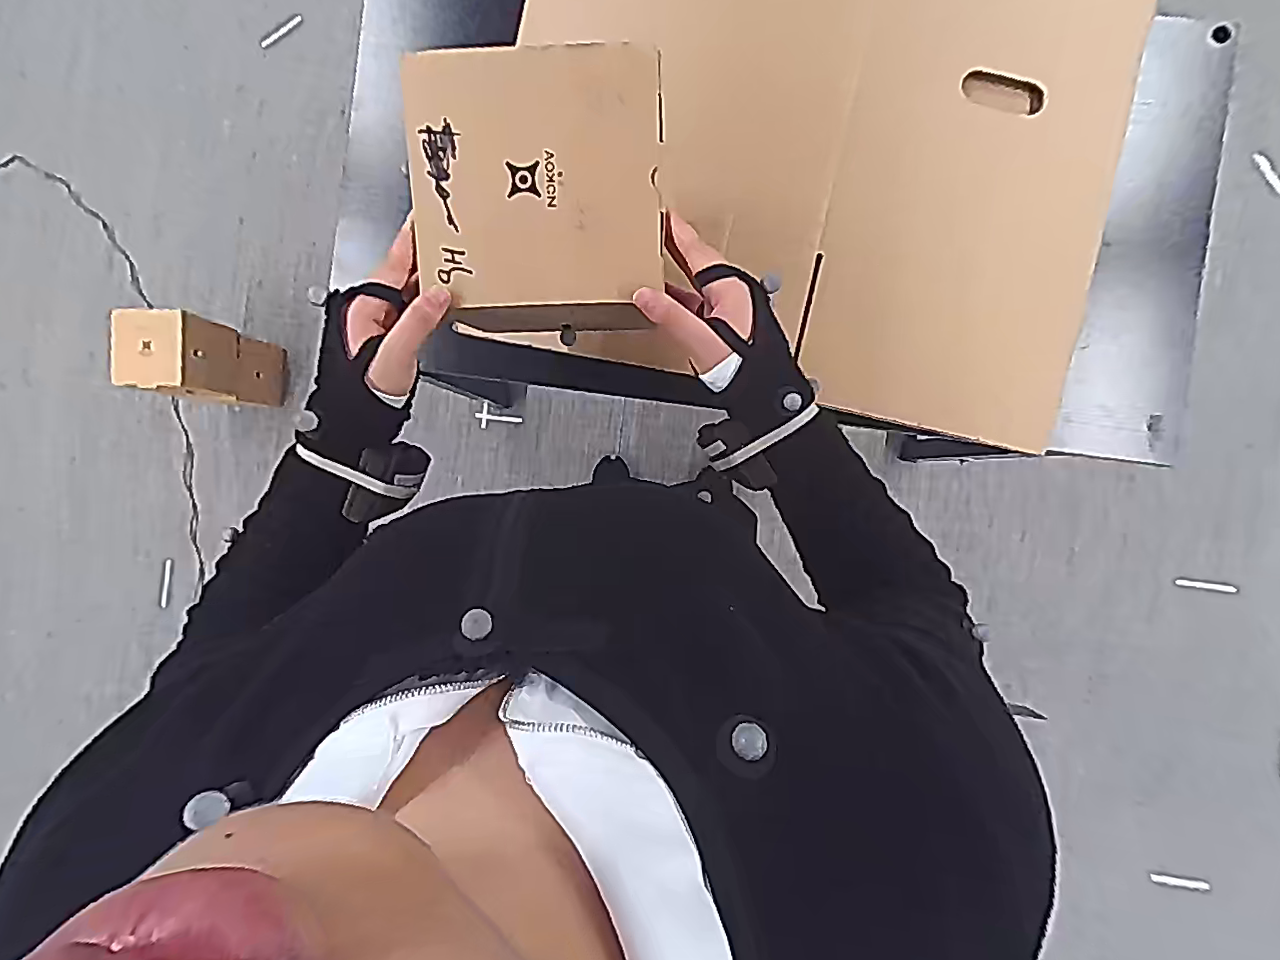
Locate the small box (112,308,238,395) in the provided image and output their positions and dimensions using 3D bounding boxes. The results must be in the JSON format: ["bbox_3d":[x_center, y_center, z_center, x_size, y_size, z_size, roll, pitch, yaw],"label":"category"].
[{"bbox_3d":[-1.107,-0.301,1.300,0.168,0.176,0.179,1,90,2],"label":"small box"}]

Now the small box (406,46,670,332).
[{"bbox_3d":[-0.071,-0.220,0.453,0.179,0.176,0.168,-2,98,-1],"label":"small box"}]

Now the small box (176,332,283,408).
[{"bbox_3d":[-1.101,-0.296,1.463,0.168,0.176,0.179,4,91,2],"label":"small box"}]
